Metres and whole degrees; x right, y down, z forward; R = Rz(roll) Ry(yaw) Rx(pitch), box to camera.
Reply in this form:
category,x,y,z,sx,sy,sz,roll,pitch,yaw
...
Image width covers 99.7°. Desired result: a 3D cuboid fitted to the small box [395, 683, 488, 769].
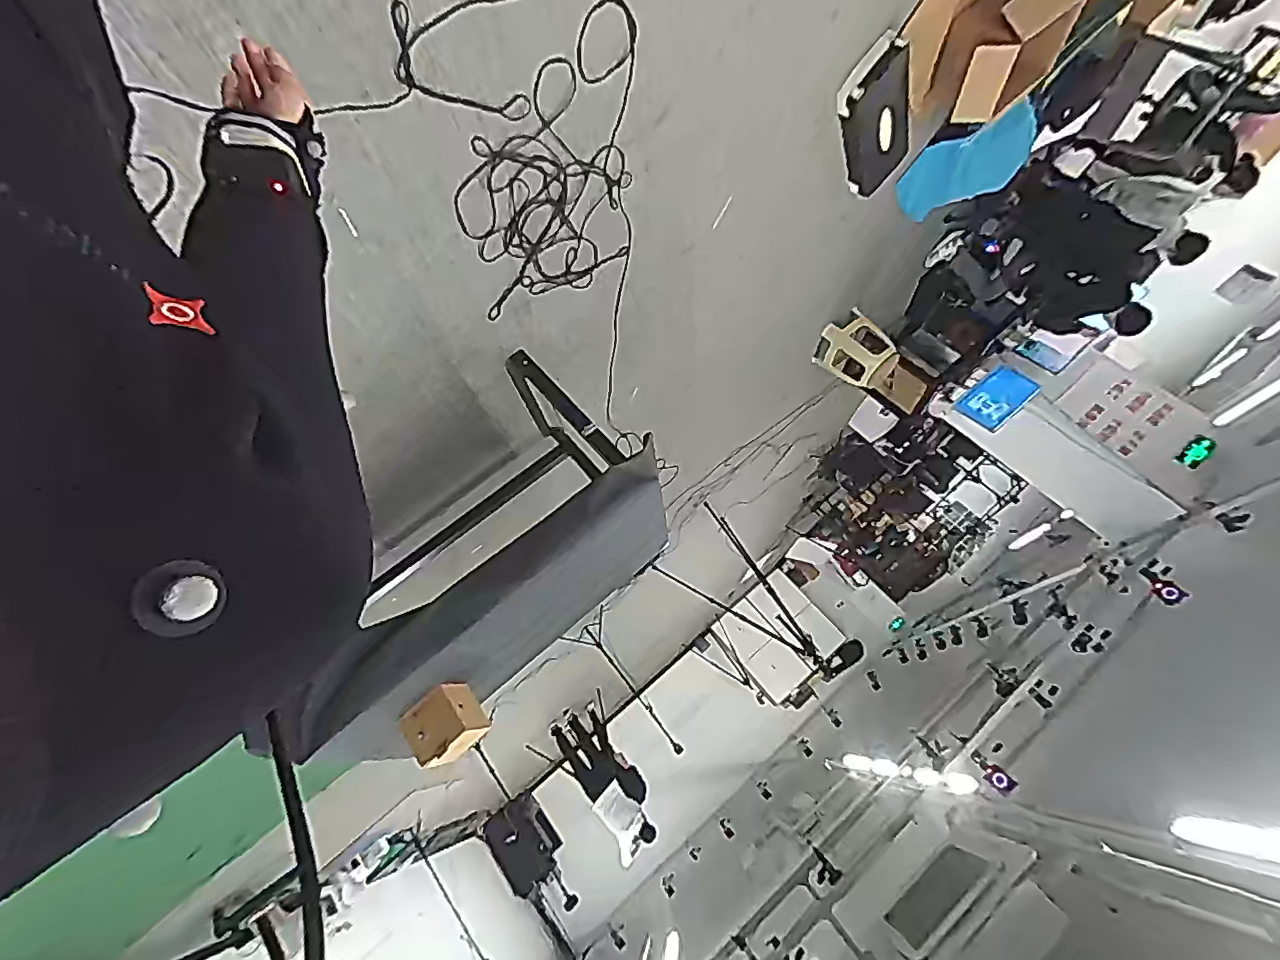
category,x,y,z,sx,sy,sz,roll,pitch,yaw
small box,-0.603,0.737,1.641,0.168,0.176,0.179,-40,159,-5
